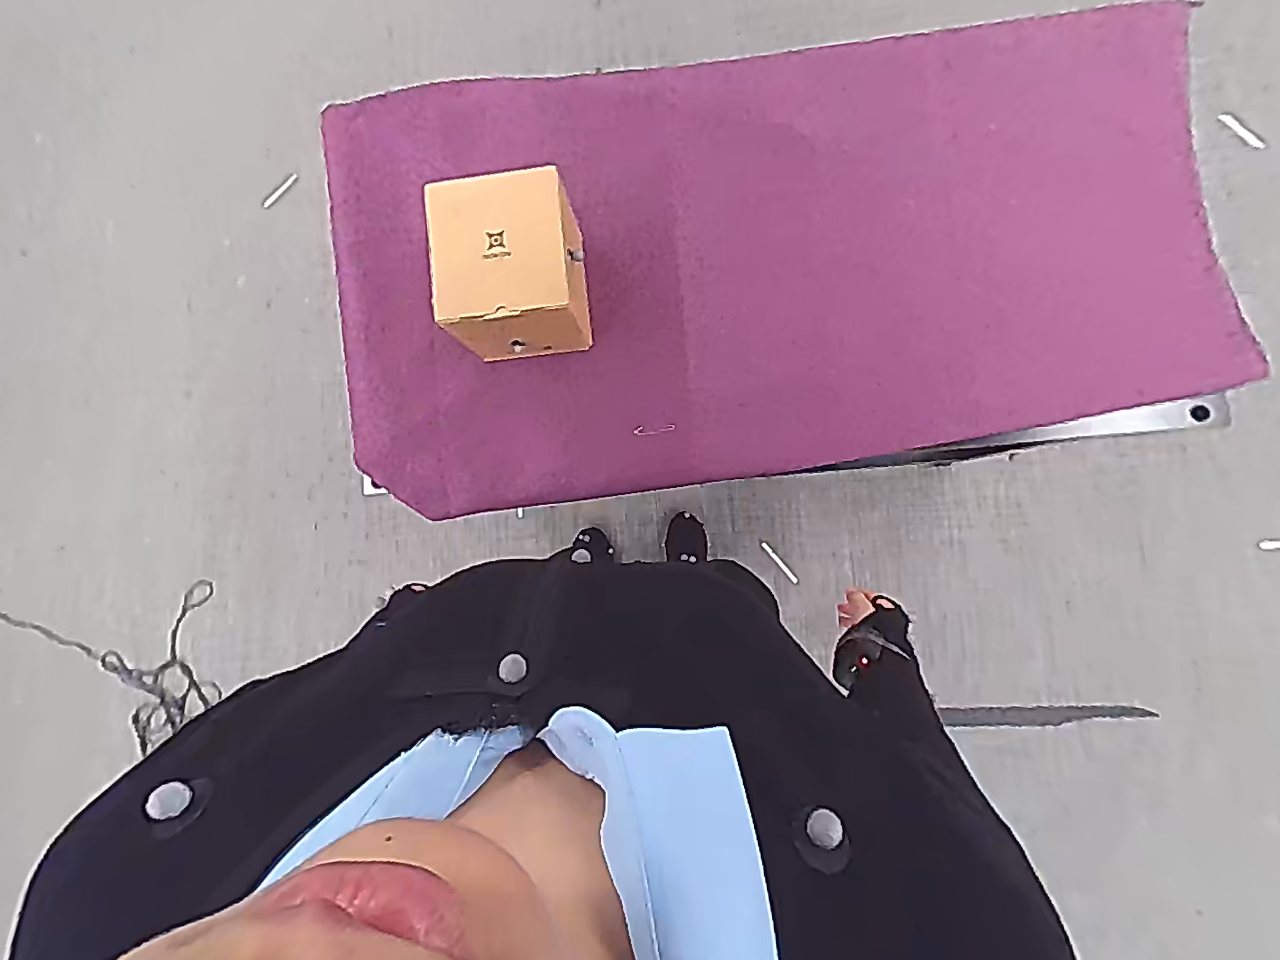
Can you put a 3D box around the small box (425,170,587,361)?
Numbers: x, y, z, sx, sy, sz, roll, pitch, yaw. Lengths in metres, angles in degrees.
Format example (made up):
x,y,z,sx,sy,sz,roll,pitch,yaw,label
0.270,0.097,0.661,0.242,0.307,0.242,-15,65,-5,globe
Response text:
x,y,z,sx,sy,sz,roll,pitch,yaw,label
-0.170,-0.275,0.728,0.168,0.176,0.179,-6,87,3,small box
